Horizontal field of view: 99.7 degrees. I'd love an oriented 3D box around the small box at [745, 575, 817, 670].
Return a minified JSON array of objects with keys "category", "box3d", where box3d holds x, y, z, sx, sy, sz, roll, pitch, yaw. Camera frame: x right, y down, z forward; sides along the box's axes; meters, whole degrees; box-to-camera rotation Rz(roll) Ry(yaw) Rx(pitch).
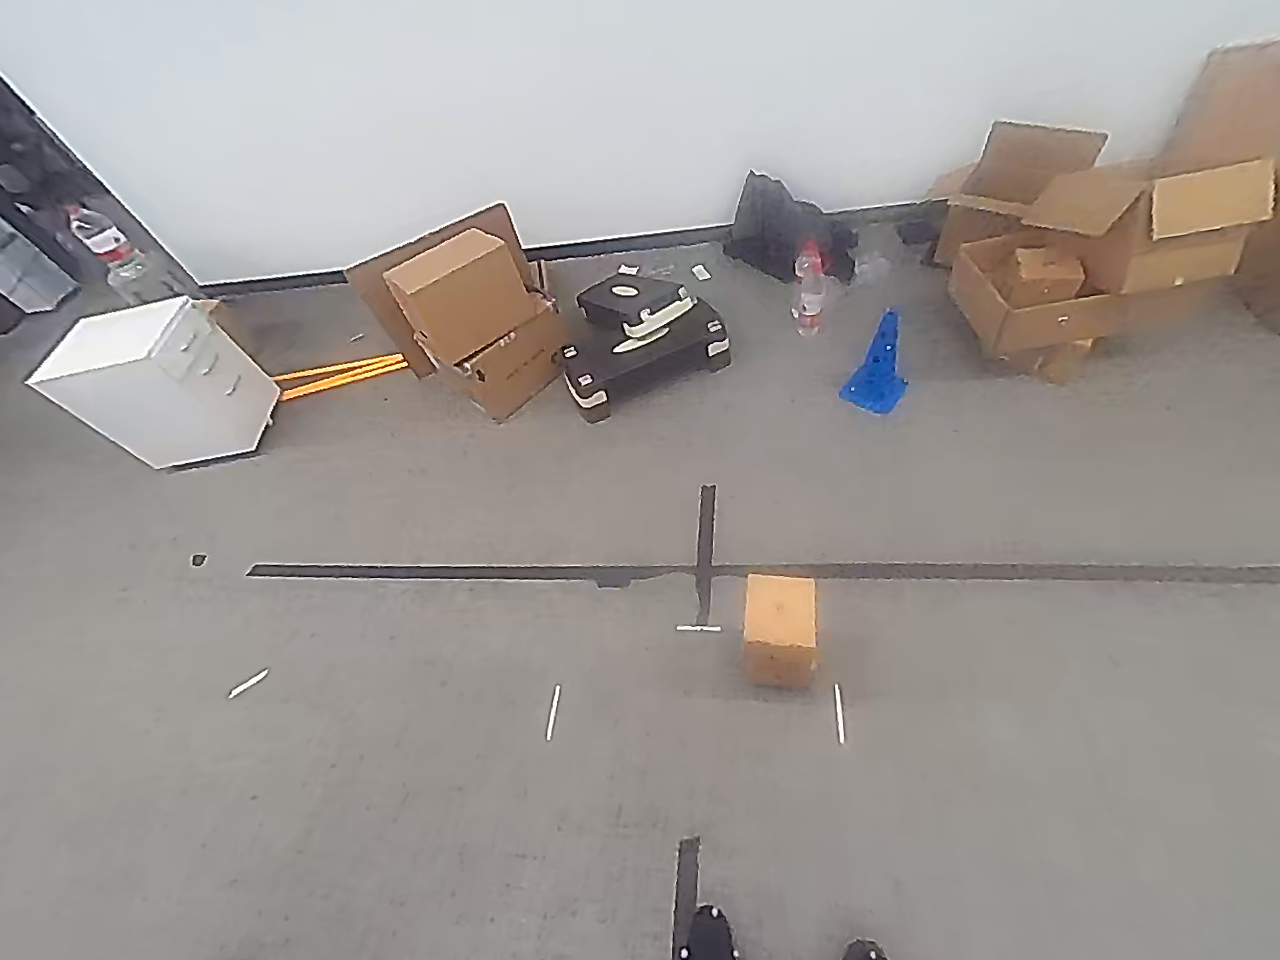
[{"category":"small box","box3d":[0.356,0.363,1.374,0.168,0.176,0.179,2,56,14]}]
